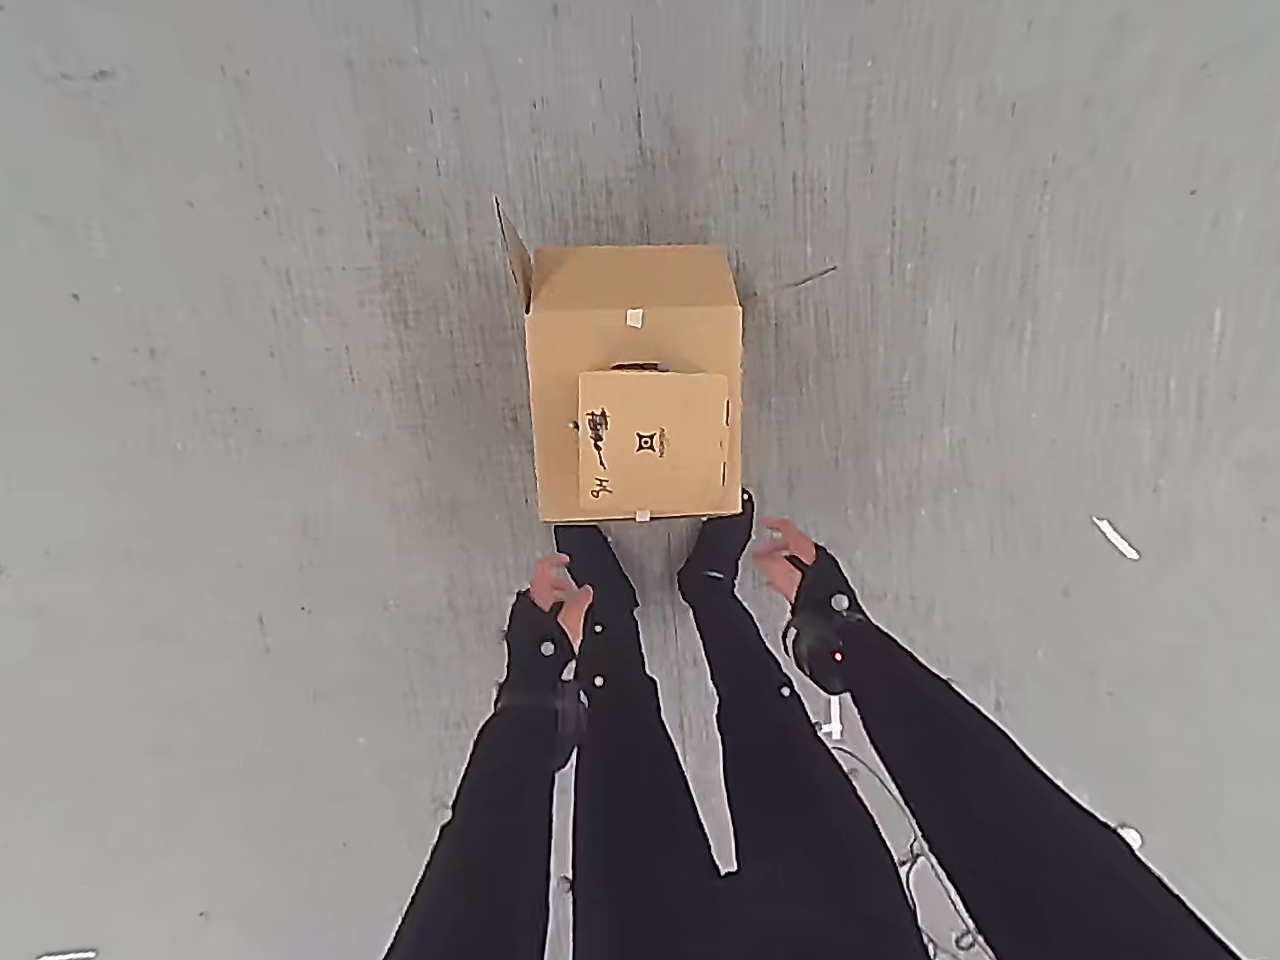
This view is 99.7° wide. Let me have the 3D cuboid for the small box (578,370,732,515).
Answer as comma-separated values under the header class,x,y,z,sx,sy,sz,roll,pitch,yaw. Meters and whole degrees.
class,x,y,z,sx,sy,sz,roll,pitch,yaw
small box,0.010,-0.056,0.702,0.179,0.176,0.168,0,102,-4
